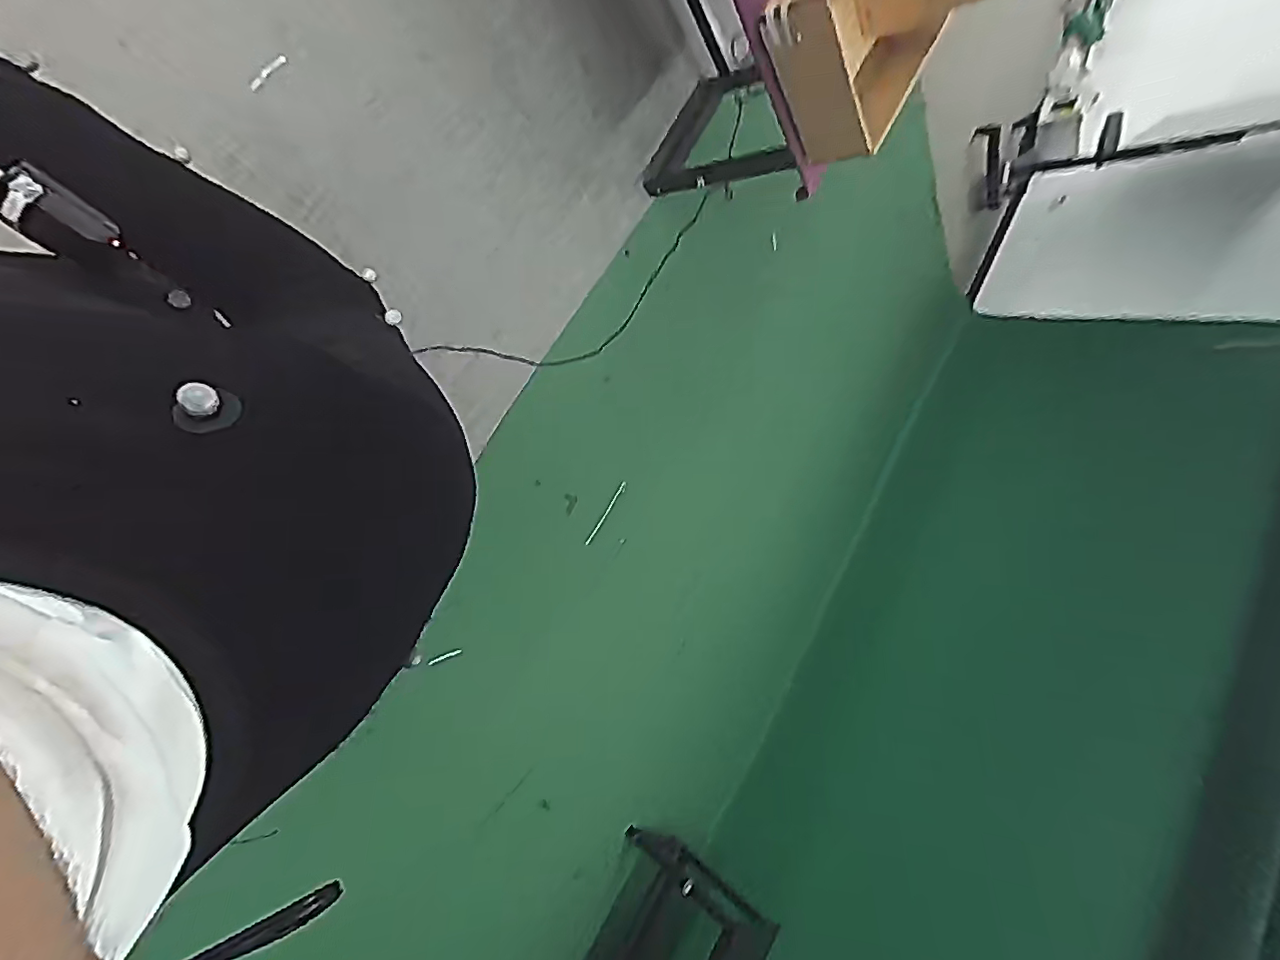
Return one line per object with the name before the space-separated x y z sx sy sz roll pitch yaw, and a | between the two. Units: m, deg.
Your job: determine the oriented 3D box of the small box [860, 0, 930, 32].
small box | 0.683 -1.323 1.405 0.168 0.176 0.179 45 72 -42
